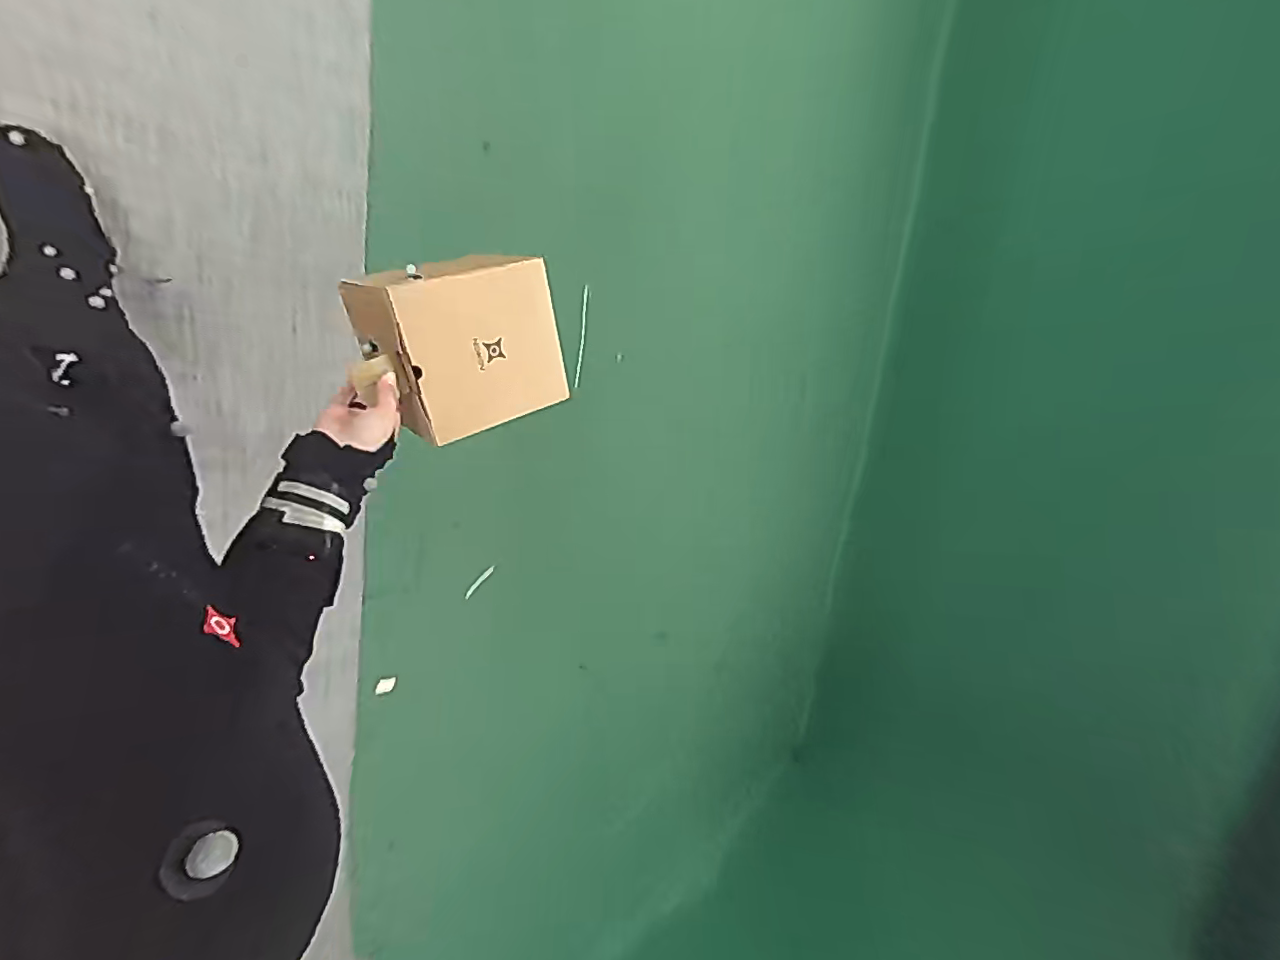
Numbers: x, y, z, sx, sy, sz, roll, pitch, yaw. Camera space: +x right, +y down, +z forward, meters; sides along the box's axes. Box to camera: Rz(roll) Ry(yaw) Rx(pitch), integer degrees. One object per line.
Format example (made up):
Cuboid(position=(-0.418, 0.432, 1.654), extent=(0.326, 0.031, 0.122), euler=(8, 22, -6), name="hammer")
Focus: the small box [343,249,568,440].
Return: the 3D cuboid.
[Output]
Cuboid(position=(-0.214, -0.171, 0.639), extent=(0.179, 0.176, 0.168), euler=(-29, 125, -31), name="small box")
